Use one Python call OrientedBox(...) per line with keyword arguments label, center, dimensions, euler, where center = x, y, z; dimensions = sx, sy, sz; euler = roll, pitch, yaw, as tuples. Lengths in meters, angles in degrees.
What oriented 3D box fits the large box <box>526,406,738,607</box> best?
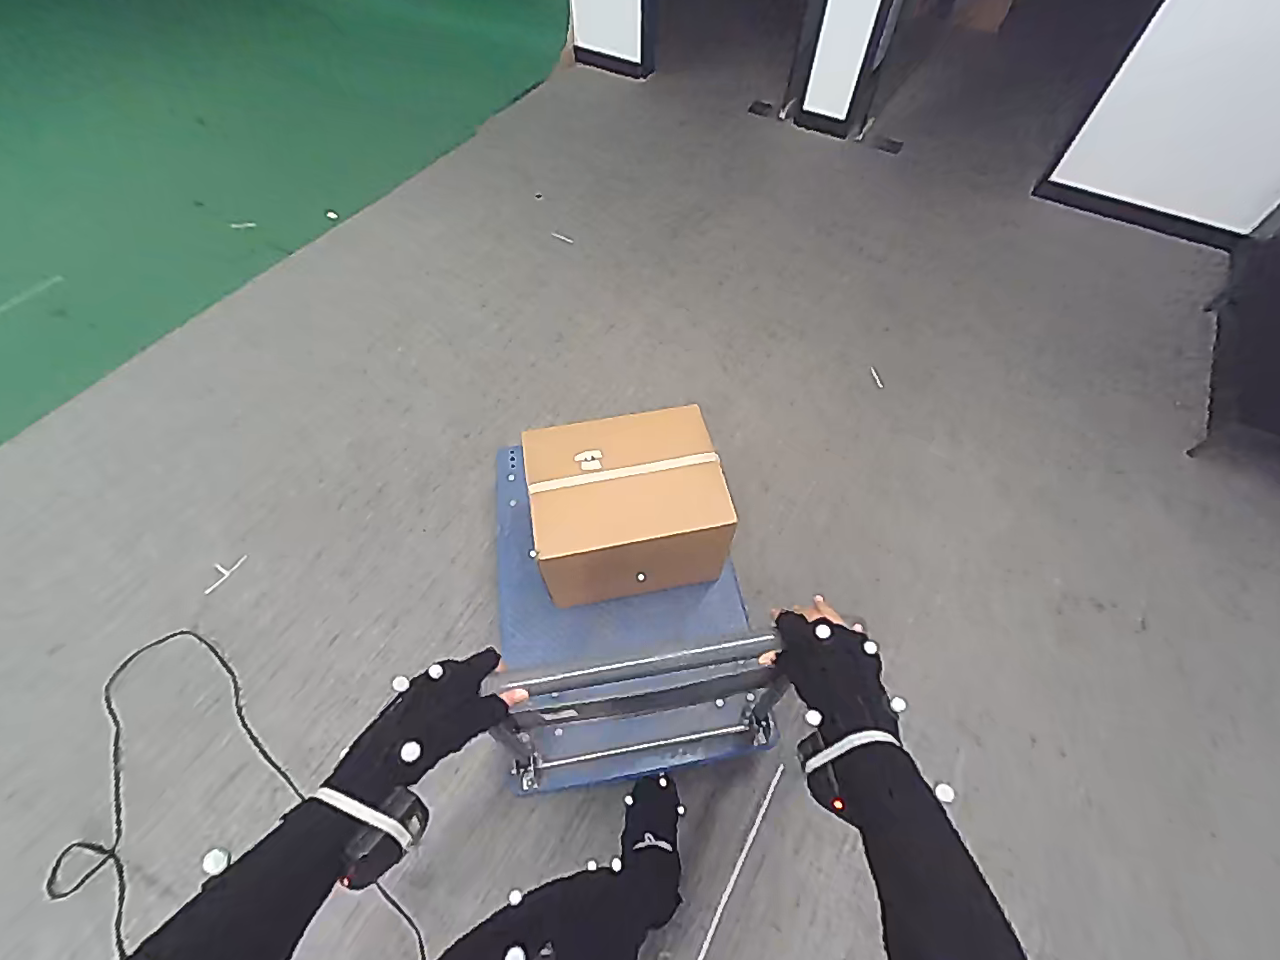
OrientedBox(label="large box", center=(-0.024, 0.070, 1.267), dimensions=(0.408, 0.320, 0.320), euler=(-11, 58, -6))
